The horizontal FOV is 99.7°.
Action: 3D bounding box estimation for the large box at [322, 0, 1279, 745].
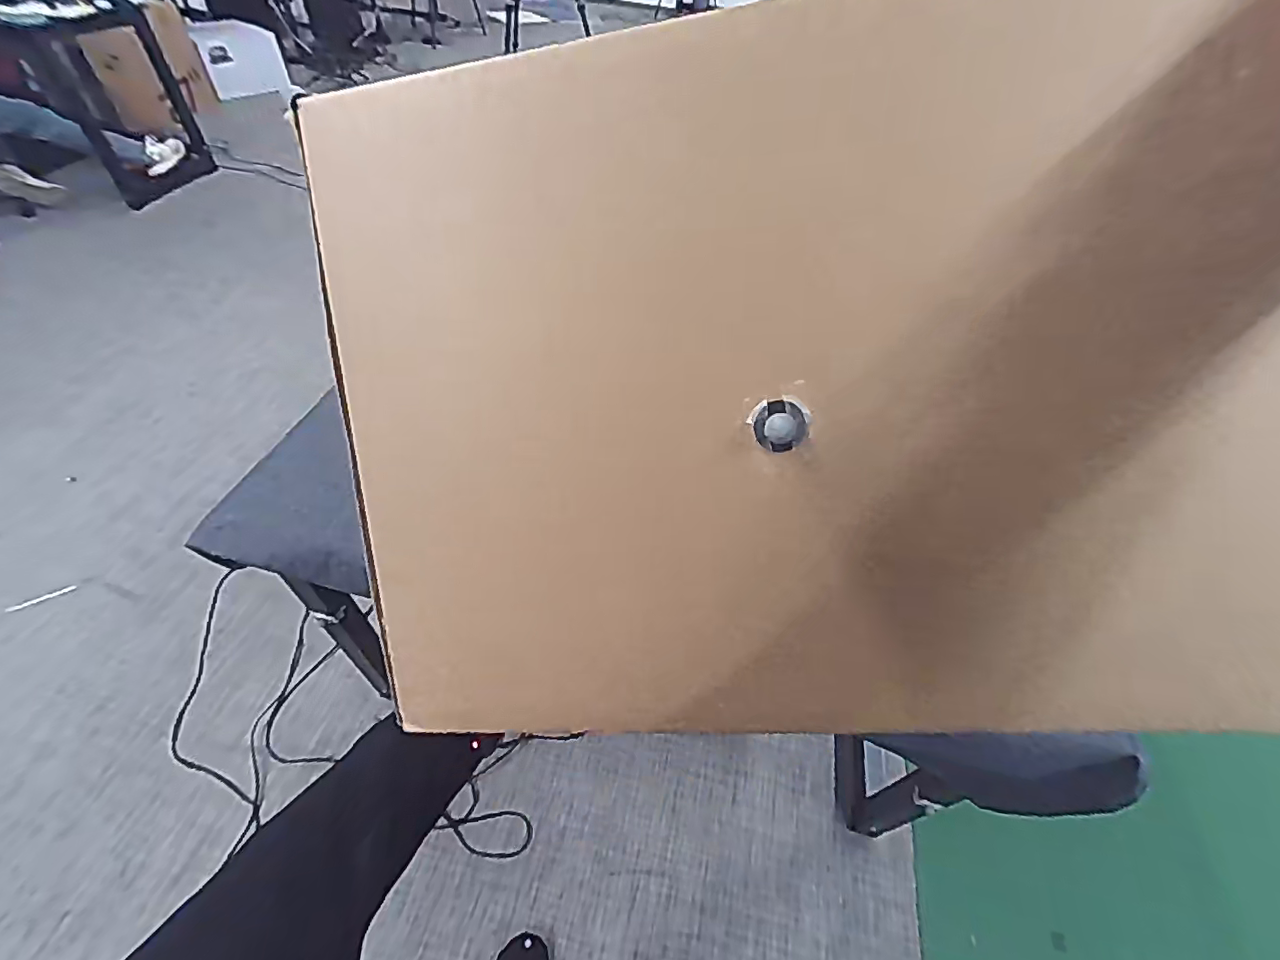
[{"bbox_3d":[0.085,-0.047,0.390,0.408,0.320,0.320,-6,7,8],"label":"large box"}]
